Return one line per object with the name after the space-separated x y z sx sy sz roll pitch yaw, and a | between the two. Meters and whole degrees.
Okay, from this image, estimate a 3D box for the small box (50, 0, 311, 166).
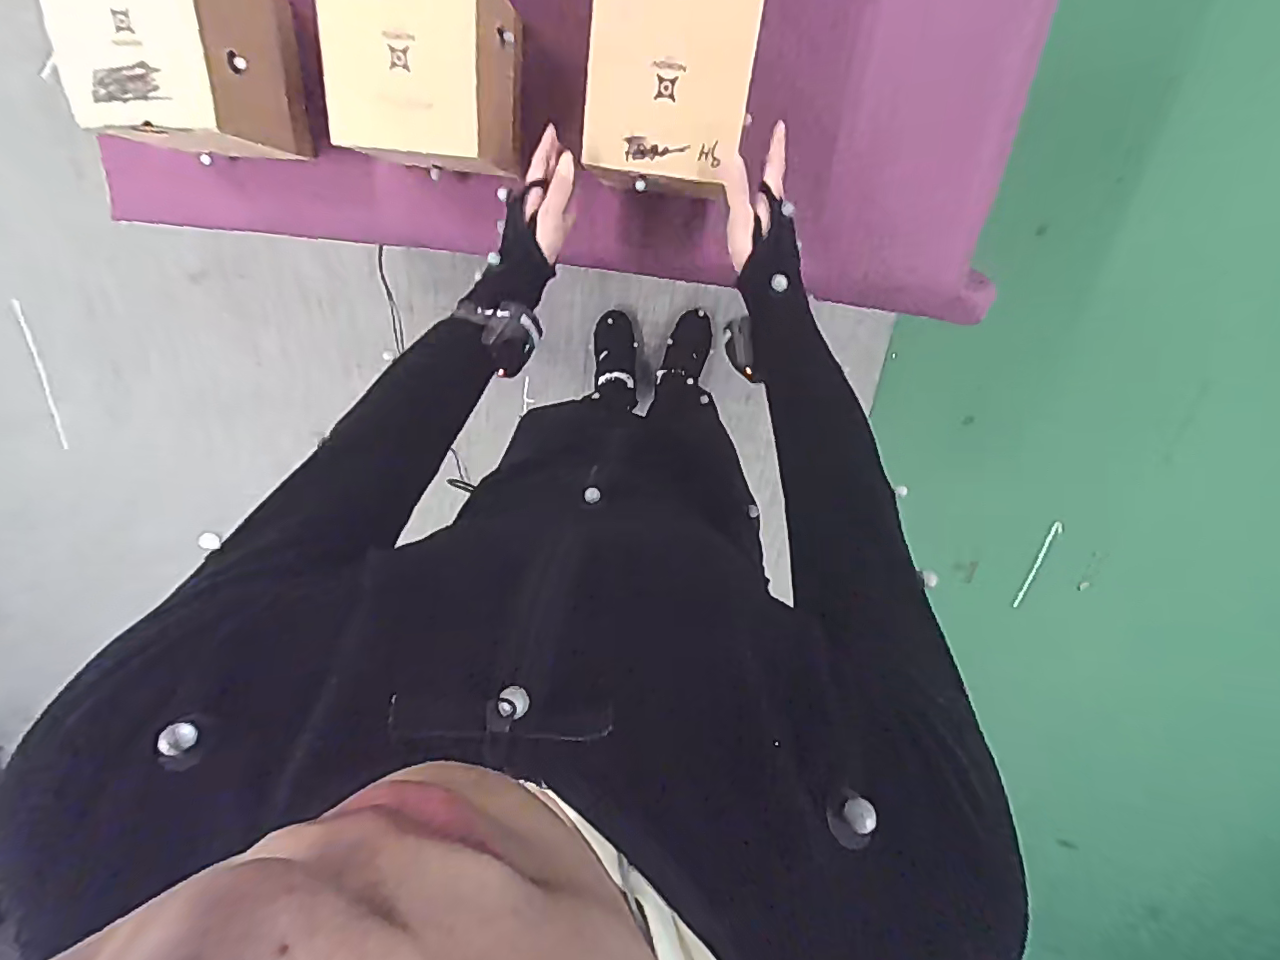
-0.530 -0.491 0.649 0.168 0.176 0.179 4 111 3 | small box

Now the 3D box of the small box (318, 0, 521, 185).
-0.245 -0.465 0.639 0.168 0.176 0.179 8 113 3 | small box
